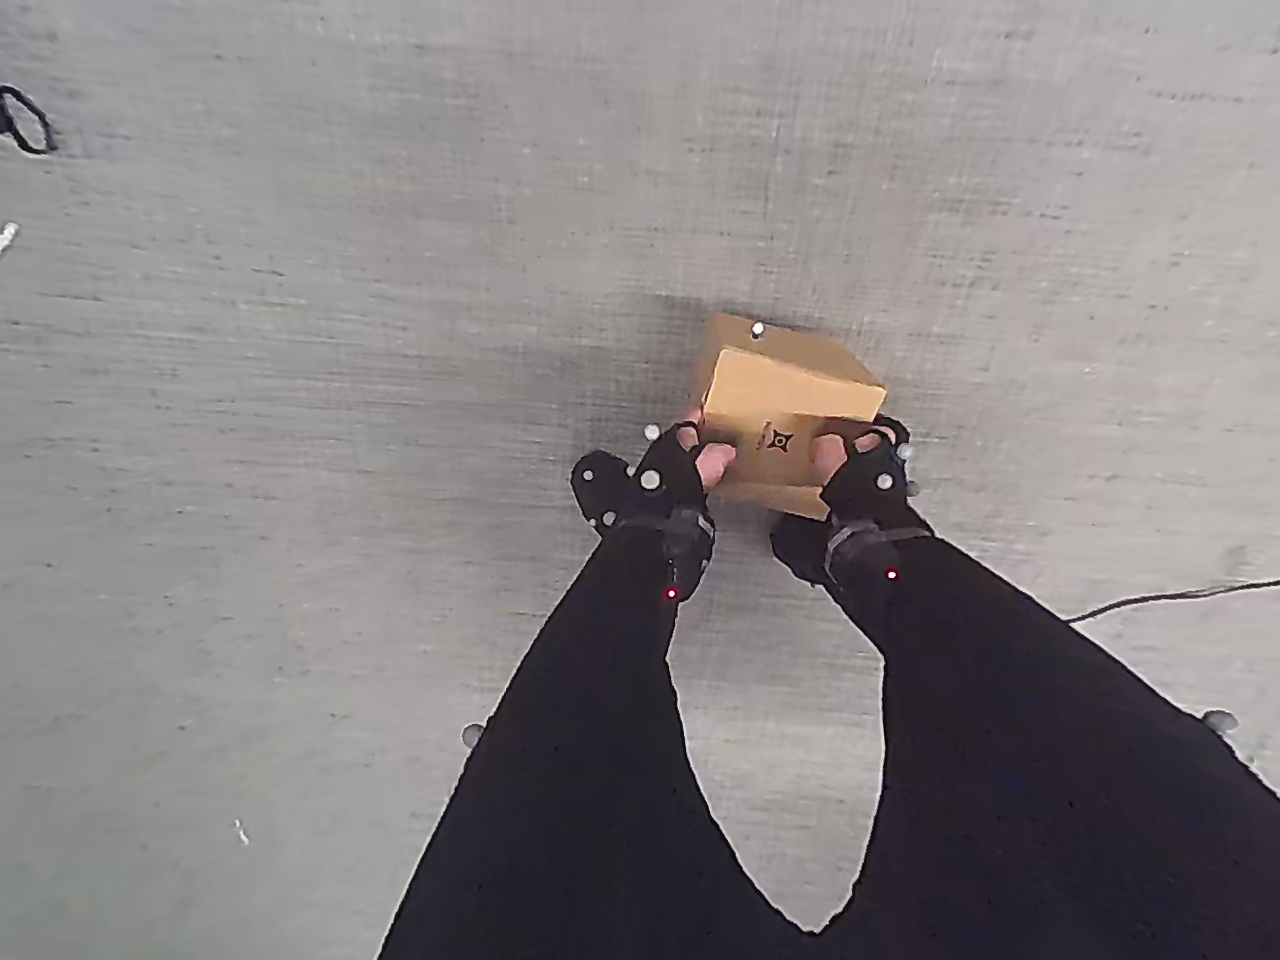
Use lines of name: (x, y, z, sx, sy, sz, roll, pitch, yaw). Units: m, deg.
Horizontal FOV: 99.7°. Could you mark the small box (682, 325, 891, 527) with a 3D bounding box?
small box: (0.155, -0.073, 0.644, 0.179, 0.176, 0.168, 13, 120, -4)
